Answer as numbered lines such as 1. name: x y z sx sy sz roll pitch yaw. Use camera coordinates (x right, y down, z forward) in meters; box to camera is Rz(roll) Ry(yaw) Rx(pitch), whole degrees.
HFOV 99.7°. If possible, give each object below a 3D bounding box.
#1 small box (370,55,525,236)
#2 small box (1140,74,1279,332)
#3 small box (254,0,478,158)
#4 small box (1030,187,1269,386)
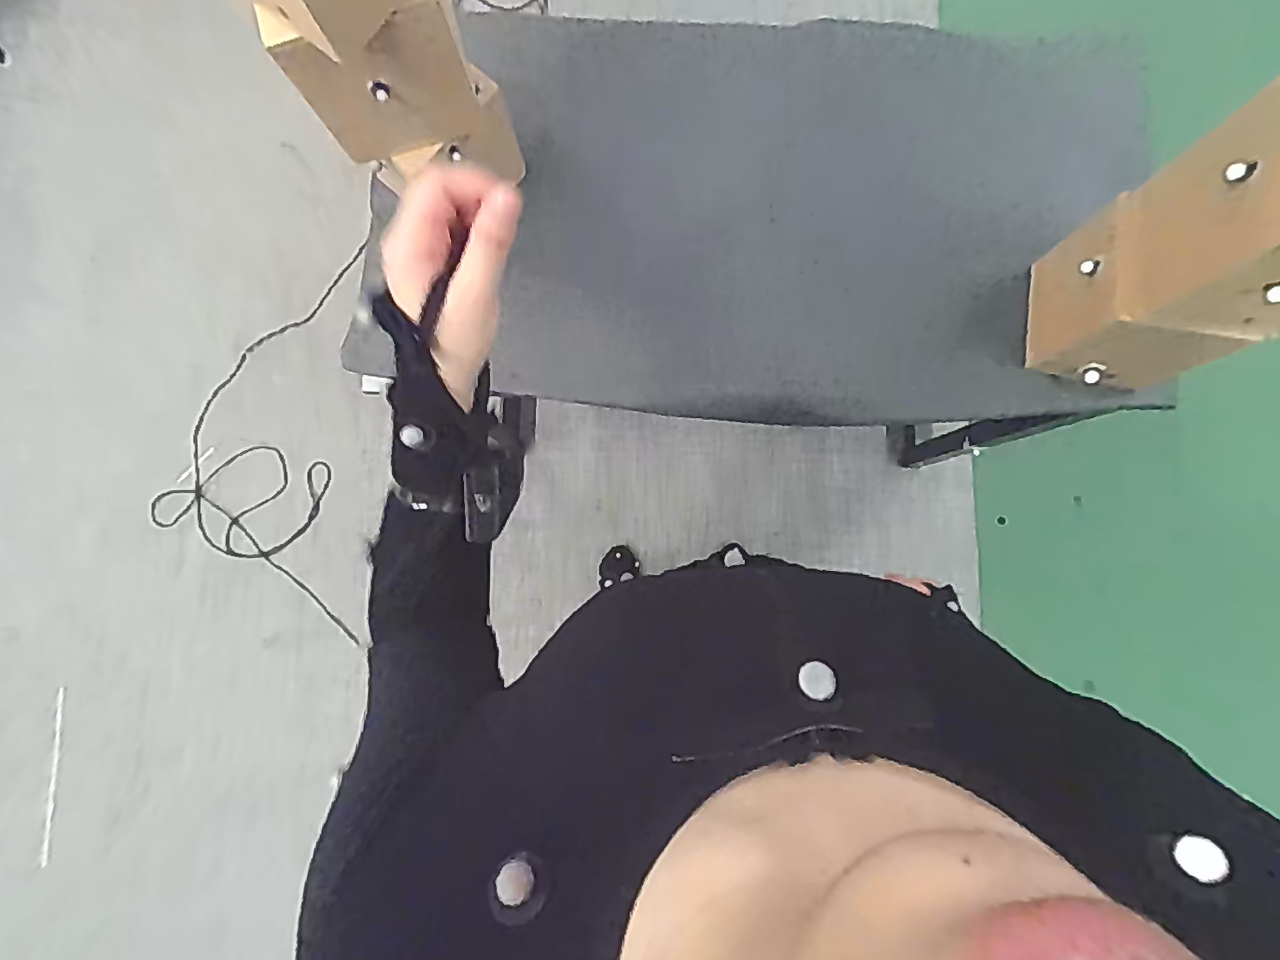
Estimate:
1. small box: -0.293 -0.491 0.769 0.179 0.176 0.168 42 86 5
2. small box: 0.664 -0.271 0.553 0.168 0.176 0.179 8 79 3
3. small box: -0.297 -0.505 0.604 0.179 0.176 0.168 -17 84 0
4. small box: 0.654 -0.244 0.713 0.168 0.176 0.179 10 81 4
